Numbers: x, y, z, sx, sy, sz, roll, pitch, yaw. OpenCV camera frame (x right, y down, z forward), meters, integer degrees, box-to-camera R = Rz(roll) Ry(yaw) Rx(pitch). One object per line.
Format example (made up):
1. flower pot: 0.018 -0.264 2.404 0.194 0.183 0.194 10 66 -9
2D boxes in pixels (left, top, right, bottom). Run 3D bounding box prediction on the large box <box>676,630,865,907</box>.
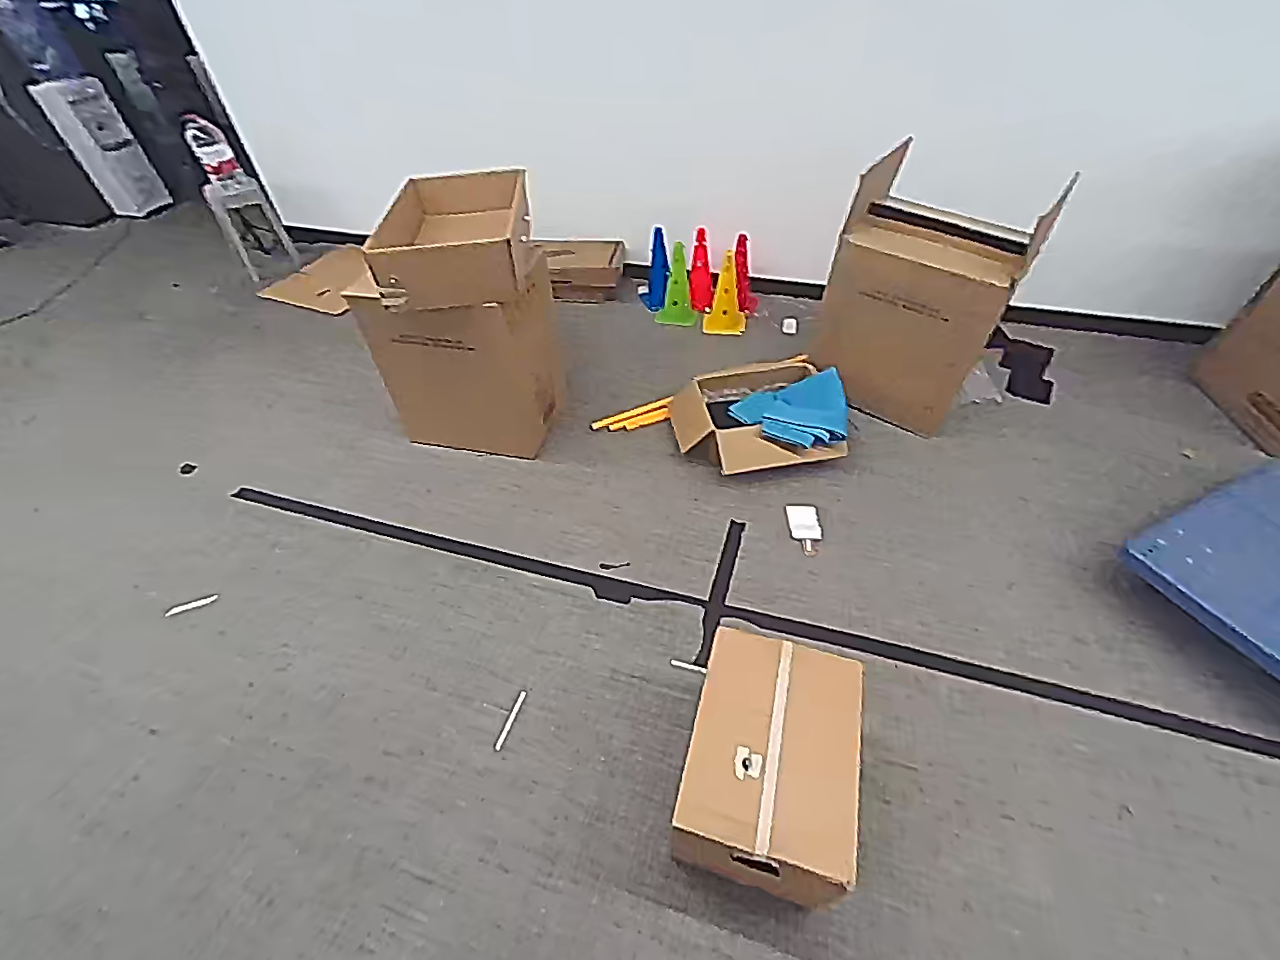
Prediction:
1. large box: 0.271 0.596 1.141 0.320 0.320 0.408 11 48 13
